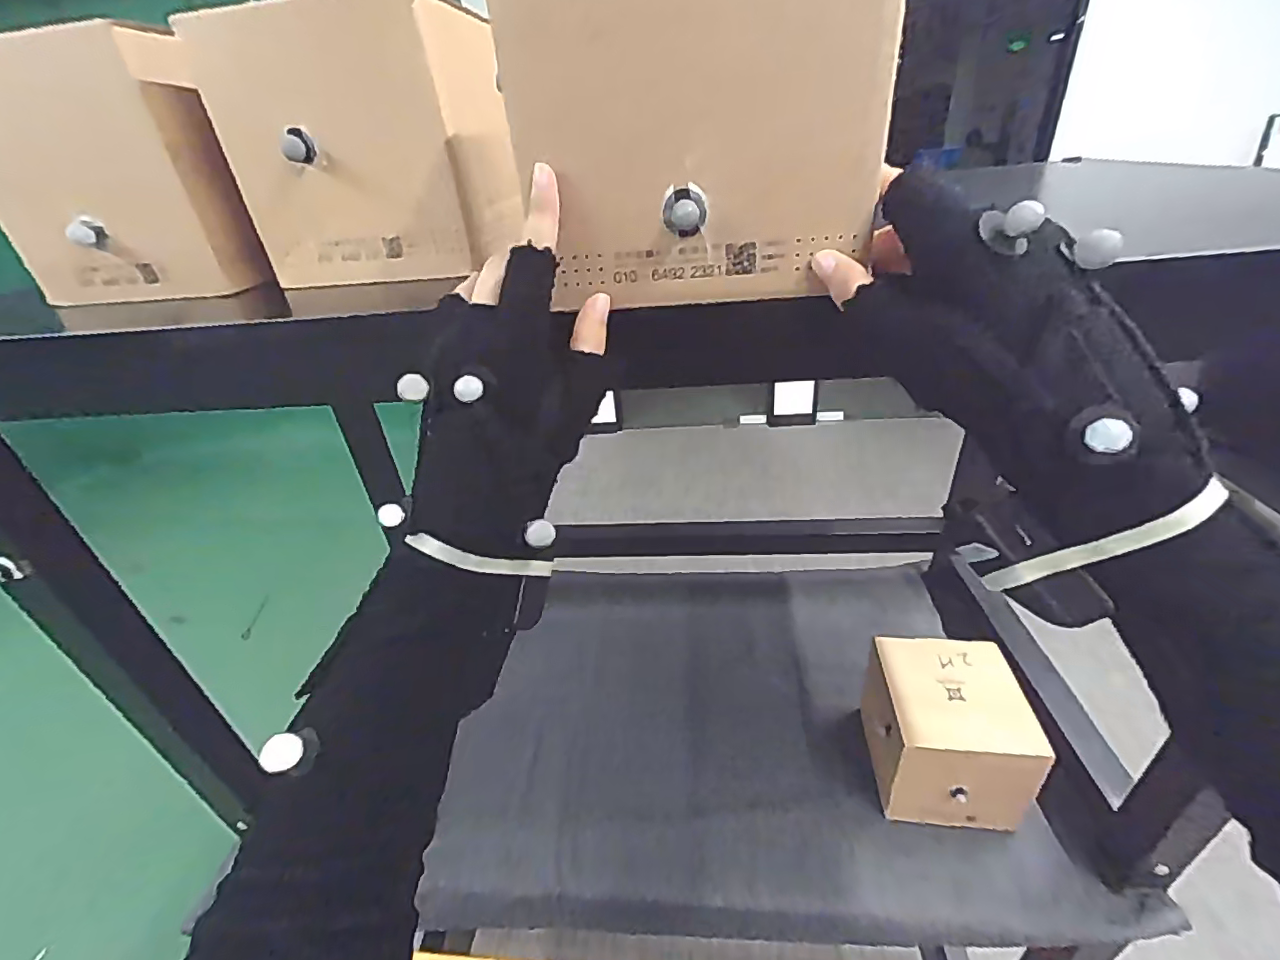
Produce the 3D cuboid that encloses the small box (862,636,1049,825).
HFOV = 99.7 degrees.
[{"bbox_3d":[0.418,0.344,0.751,0.168,0.176,0.179,0,31,10],"label":"small box"}]

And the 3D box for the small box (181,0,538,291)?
[{"bbox_3d":[-0.194,-0.256,0.441,0.168,0.176,0.179,-1,31,9],"label":"small box"}]

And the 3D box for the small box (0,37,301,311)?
[{"bbox_3d":[-0.389,-0.250,0.460,0.168,0.176,0.179,-1,33,8],"label":"small box"}]
